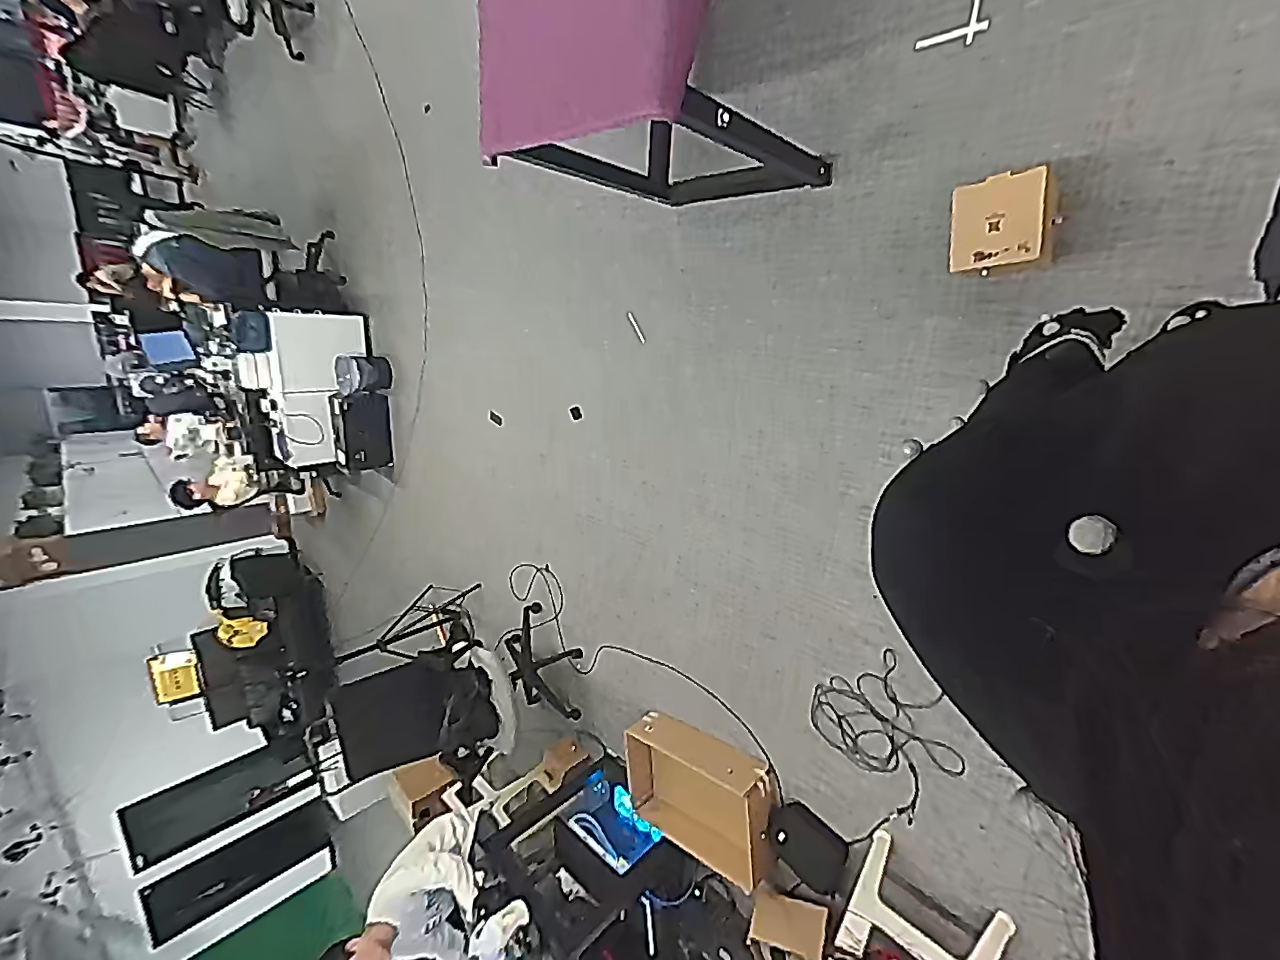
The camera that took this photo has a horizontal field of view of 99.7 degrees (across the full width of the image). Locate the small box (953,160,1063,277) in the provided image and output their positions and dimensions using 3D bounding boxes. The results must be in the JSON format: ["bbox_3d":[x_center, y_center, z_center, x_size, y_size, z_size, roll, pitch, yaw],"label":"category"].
[{"bbox_3d":[0.792,-0.548,1.161,0.168,0.176,0.179,7,104,44],"label":"small box"}]
